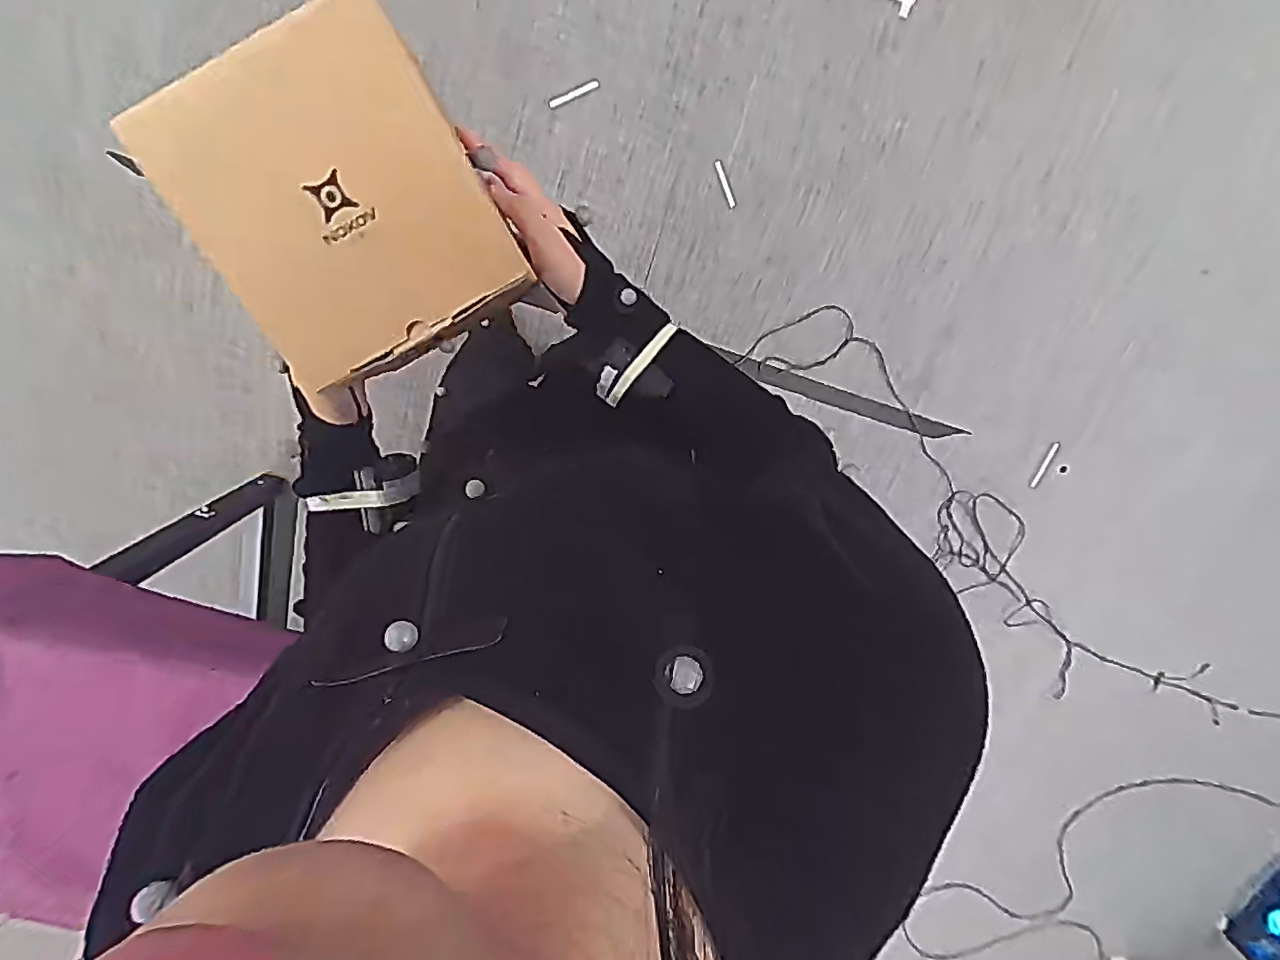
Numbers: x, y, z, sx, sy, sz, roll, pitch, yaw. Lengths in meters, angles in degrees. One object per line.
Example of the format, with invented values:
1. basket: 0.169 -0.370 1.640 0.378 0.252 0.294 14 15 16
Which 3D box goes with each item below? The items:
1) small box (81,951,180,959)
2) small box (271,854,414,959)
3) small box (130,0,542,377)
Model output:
1. small box: -0.715 0.780 0.716 0.168 0.176 0.179 13 106 -9
2. small box: -0.493 0.767 0.899 0.168 0.176 0.179 16 107 -9
3. small box: -0.186 -0.195 0.399 0.168 0.176 0.179 -28 109 1
